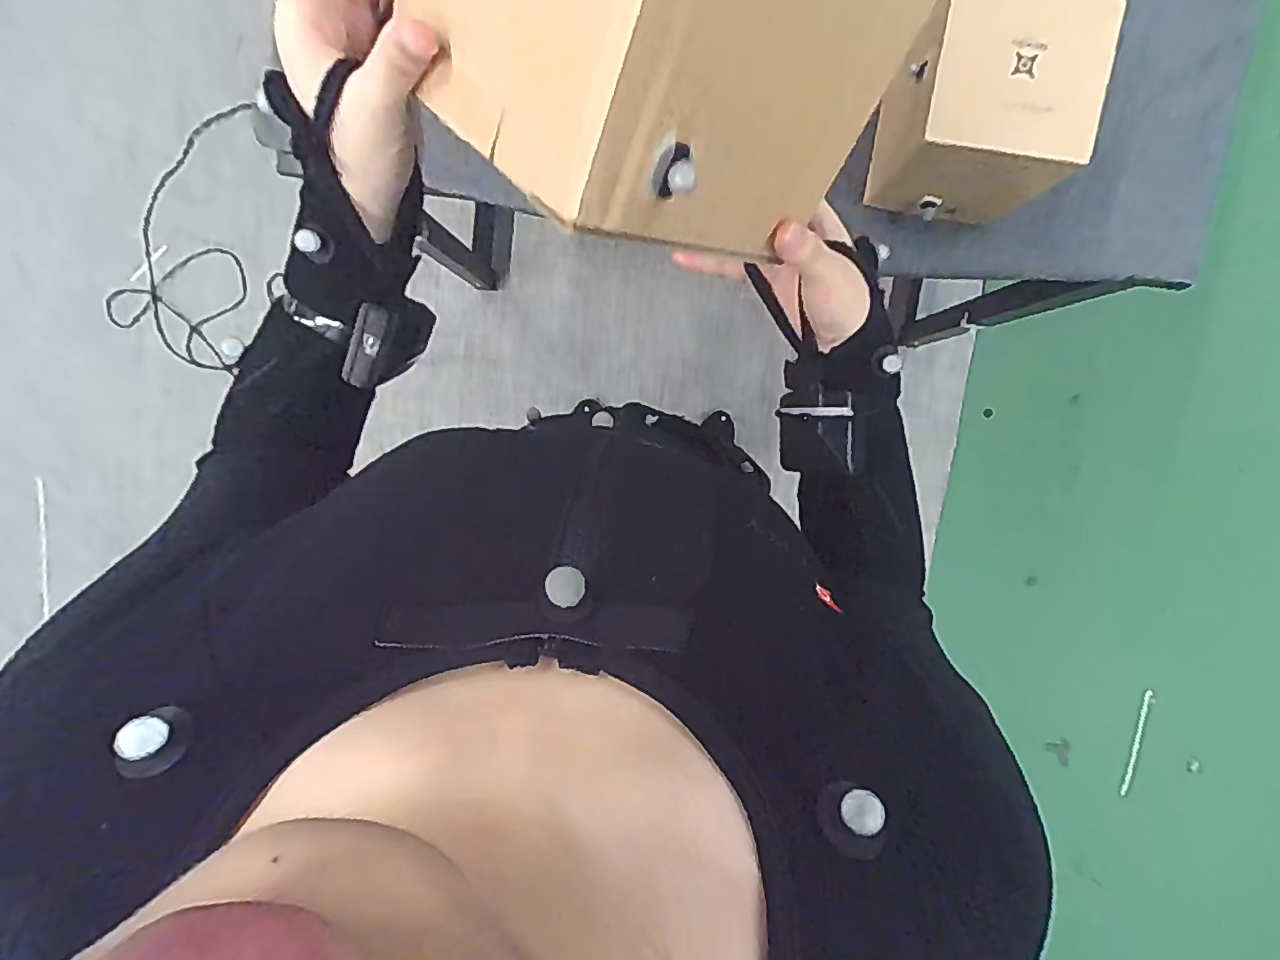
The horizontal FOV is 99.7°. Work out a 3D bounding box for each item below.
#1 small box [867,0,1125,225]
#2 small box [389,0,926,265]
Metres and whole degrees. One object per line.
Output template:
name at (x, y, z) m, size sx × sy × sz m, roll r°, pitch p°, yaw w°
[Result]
small box at (0.376, -0.415, 0.604) m, size 0.168 × 0.176 × 0.179 m, roll 9°, pitch 96°, yaw 2°
small box at (0.012, -0.226, 0.253) m, size 0.168 × 0.179 × 0.176 m, roll 48°, pitch 131°, yaw 24°
